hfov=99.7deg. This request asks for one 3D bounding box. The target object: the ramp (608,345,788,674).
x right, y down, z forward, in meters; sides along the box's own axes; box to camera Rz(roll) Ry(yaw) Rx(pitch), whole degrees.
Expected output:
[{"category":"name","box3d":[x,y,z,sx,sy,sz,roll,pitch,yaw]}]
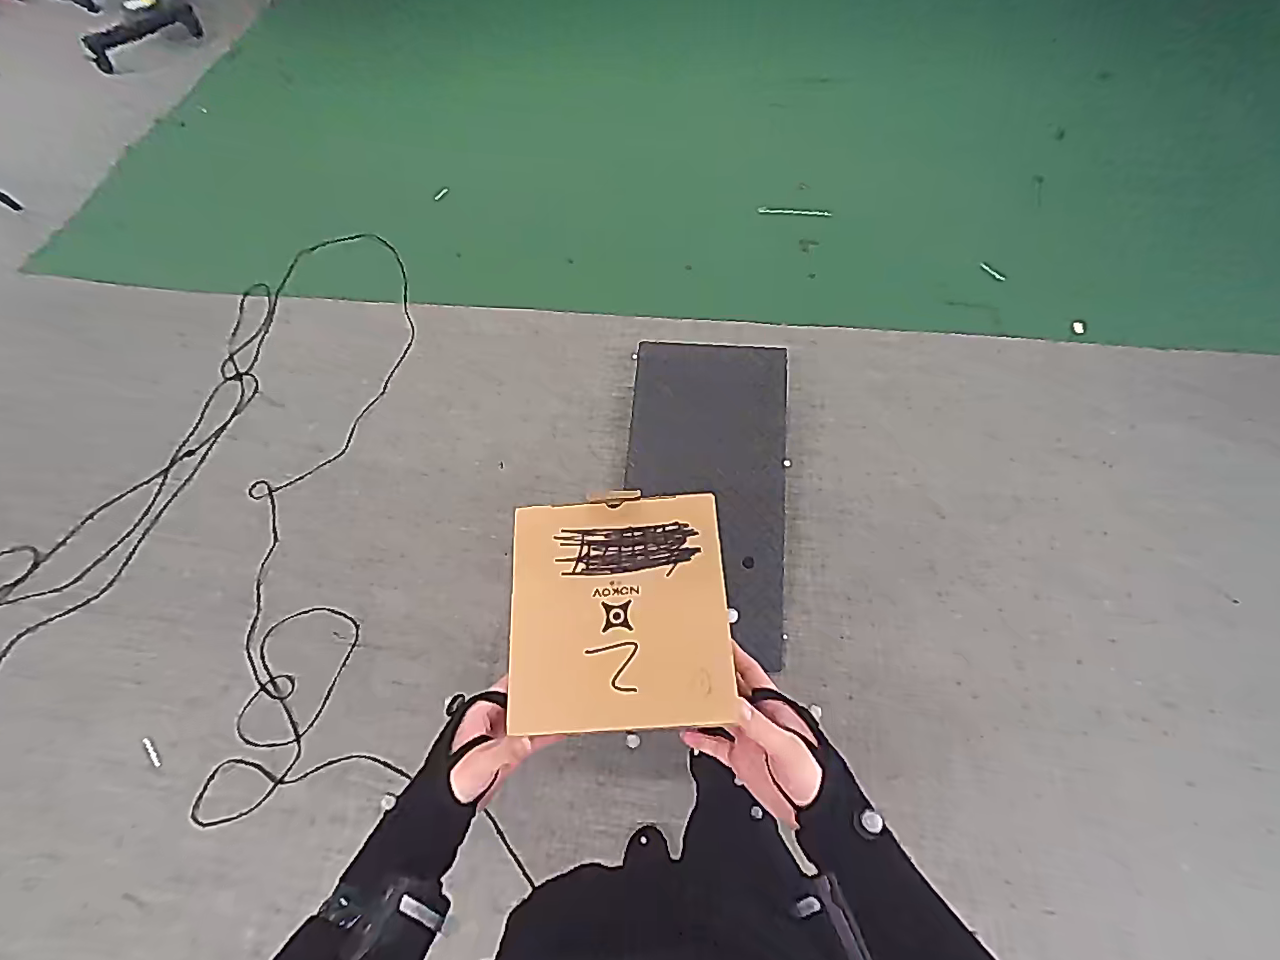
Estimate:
[{"category":"ramp","box3d":[0.197,0.041,1.634,0.509,0.206,0.991,3,62,3]}]
